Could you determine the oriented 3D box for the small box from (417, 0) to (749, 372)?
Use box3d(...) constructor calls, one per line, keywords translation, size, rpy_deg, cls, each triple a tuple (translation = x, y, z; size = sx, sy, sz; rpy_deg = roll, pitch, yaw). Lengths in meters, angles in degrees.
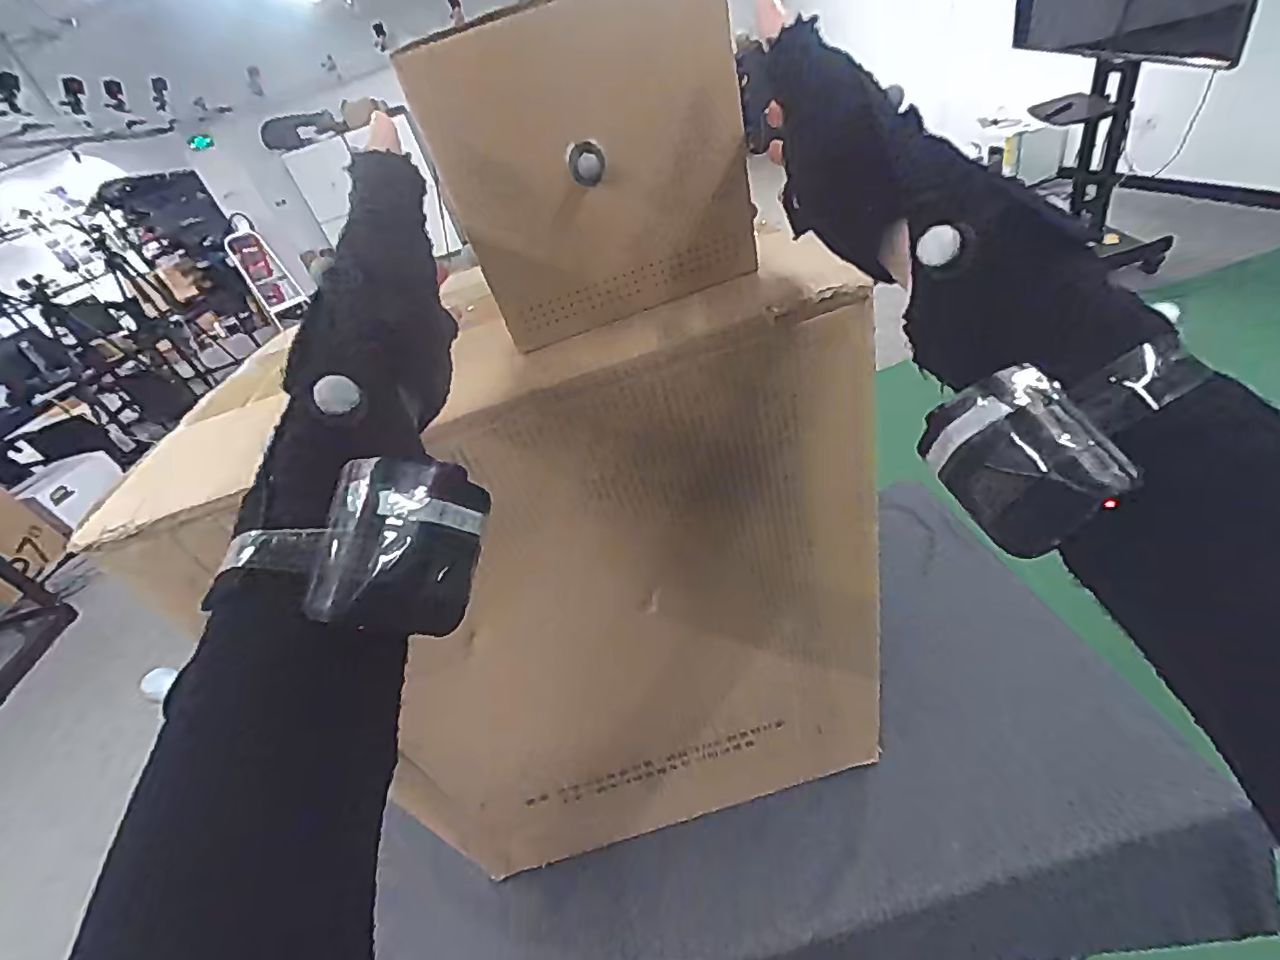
box3d(translation=(-0.031, -0.205, 0.390), size=(0.179, 0.176, 0.168), rpy_deg=(-20, 37, -2), cls="small box")
